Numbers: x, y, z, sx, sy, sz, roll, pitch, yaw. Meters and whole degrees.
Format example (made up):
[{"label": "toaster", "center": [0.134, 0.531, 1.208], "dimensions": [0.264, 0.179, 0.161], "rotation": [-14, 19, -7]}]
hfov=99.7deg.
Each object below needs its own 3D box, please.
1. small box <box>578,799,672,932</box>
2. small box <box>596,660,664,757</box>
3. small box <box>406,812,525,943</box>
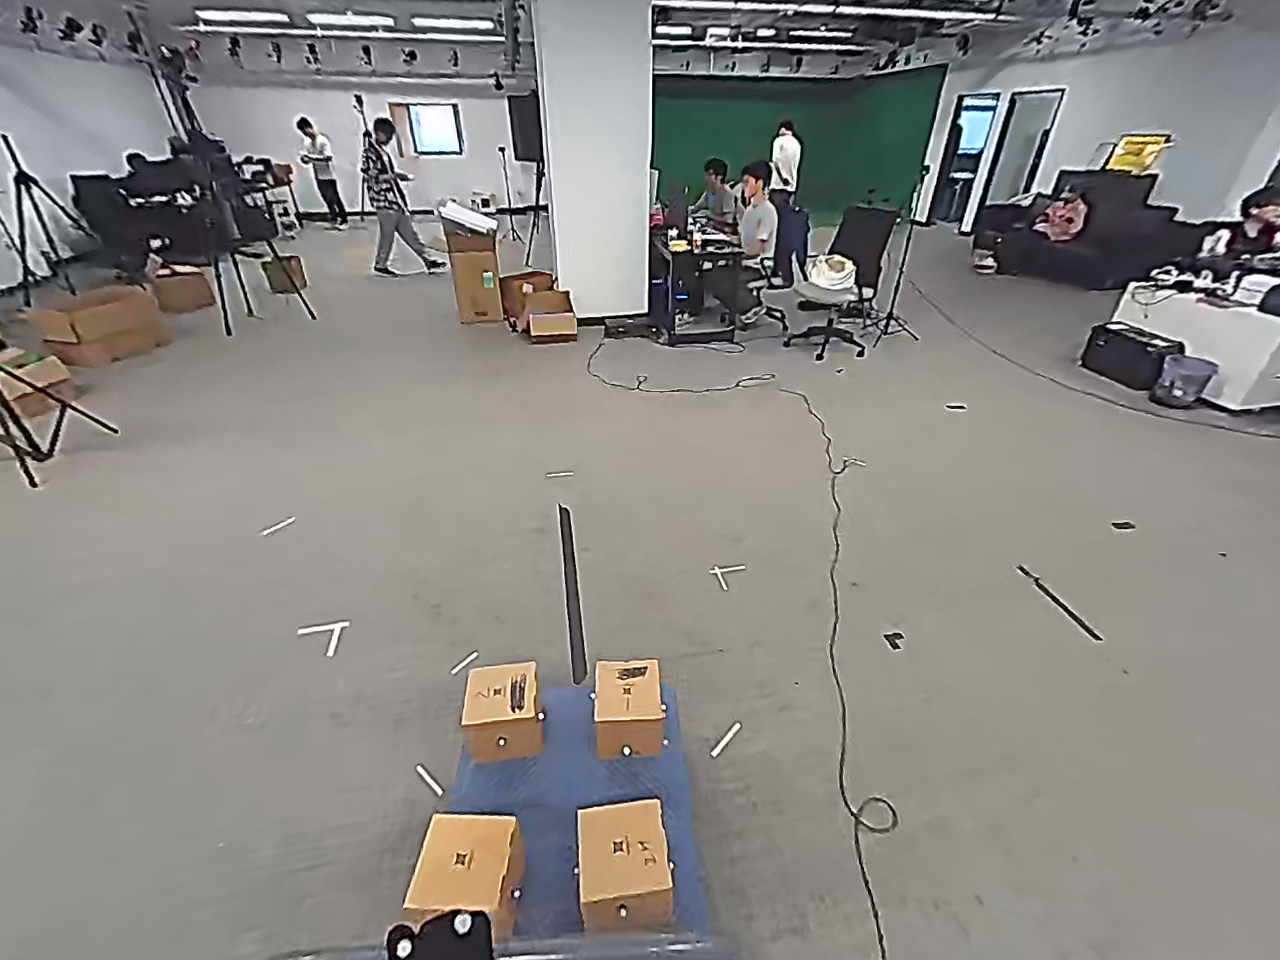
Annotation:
[{"label": "small box", "center": [-0.031, 0.790, 1.107], "dimensions": [0.179, 0.176, 0.168], "rotation": [-4, 33, -5]}, {"label": "small box", "center": [-0.026, 0.595, 1.411], "dimensions": [0.168, 0.176, 0.179], "rotation": [-2, 34, -1]}, {"label": "small box", "center": [-0.340, 0.803, 1.093], "dimensions": [0.179, 0.176, 0.168], "rotation": [2, 32, 1]}]
